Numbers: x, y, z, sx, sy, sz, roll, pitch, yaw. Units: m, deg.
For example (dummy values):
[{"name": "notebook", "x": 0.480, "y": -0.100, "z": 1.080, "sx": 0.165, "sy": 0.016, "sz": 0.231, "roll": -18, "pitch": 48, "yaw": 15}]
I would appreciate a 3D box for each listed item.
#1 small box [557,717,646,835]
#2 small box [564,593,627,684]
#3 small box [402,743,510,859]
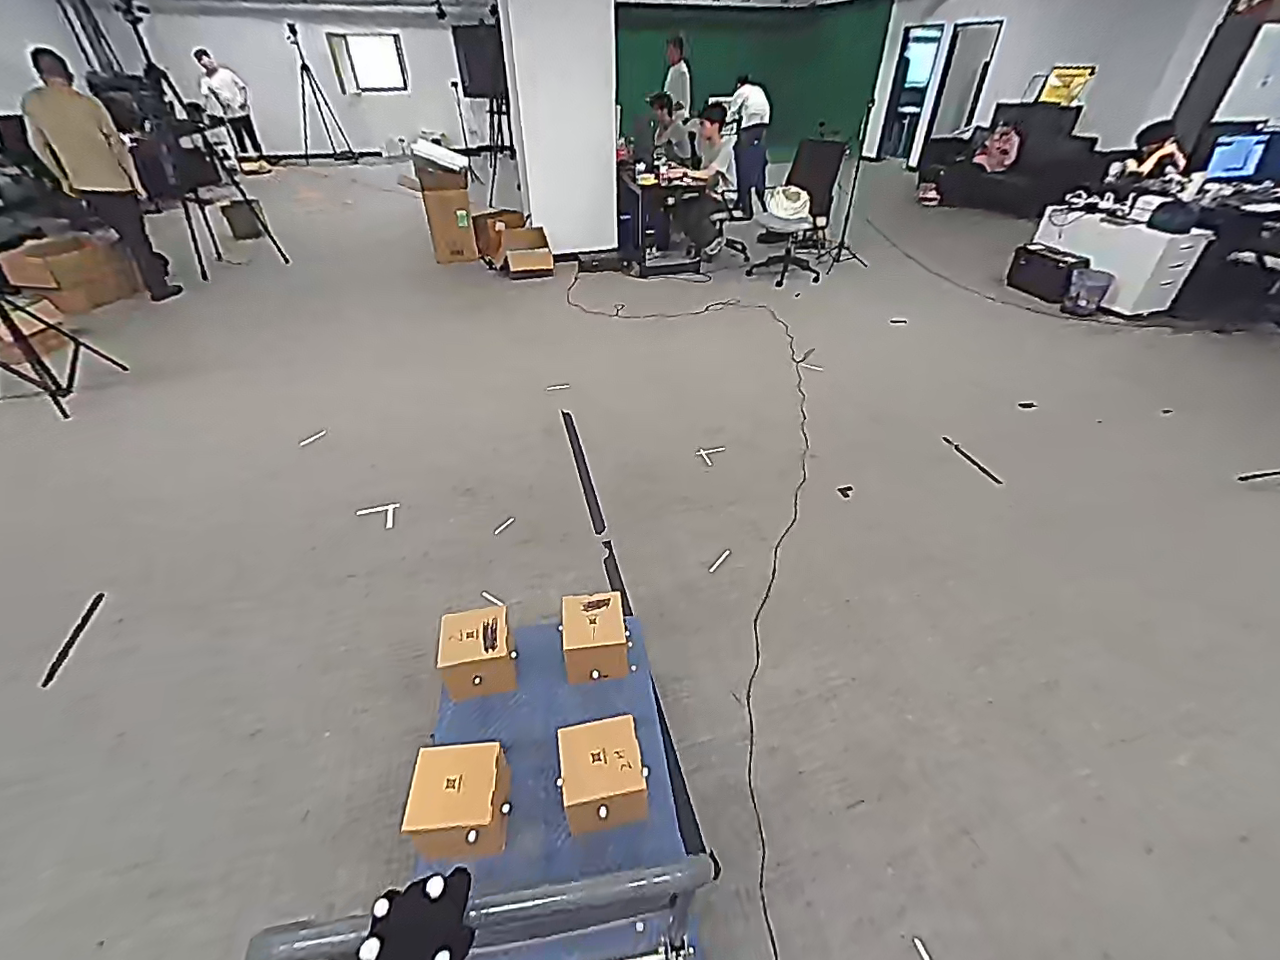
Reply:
[{"name": "small box", "x": -0.085, "y": 0.667, "z": 1.217, "sx": 0.179, "sy": 0.176, "sz": 0.168, "roll": -7, "pitch": 38, "yaw": -8}, {"name": "small box", "x": -0.125, "y": 0.441, "z": 1.509, "sx": 0.168, "sy": 0.176, "sz": 0.179, "roll": -4, "pitch": 39, "yaw": -5}, {"name": "small box", "x": -0.391, "y": 0.700, "z": 1.178, "sx": 0.179, "sy": 0.176, "sz": 0.168, "roll": -2, "pitch": 37, "yaw": -5}]
